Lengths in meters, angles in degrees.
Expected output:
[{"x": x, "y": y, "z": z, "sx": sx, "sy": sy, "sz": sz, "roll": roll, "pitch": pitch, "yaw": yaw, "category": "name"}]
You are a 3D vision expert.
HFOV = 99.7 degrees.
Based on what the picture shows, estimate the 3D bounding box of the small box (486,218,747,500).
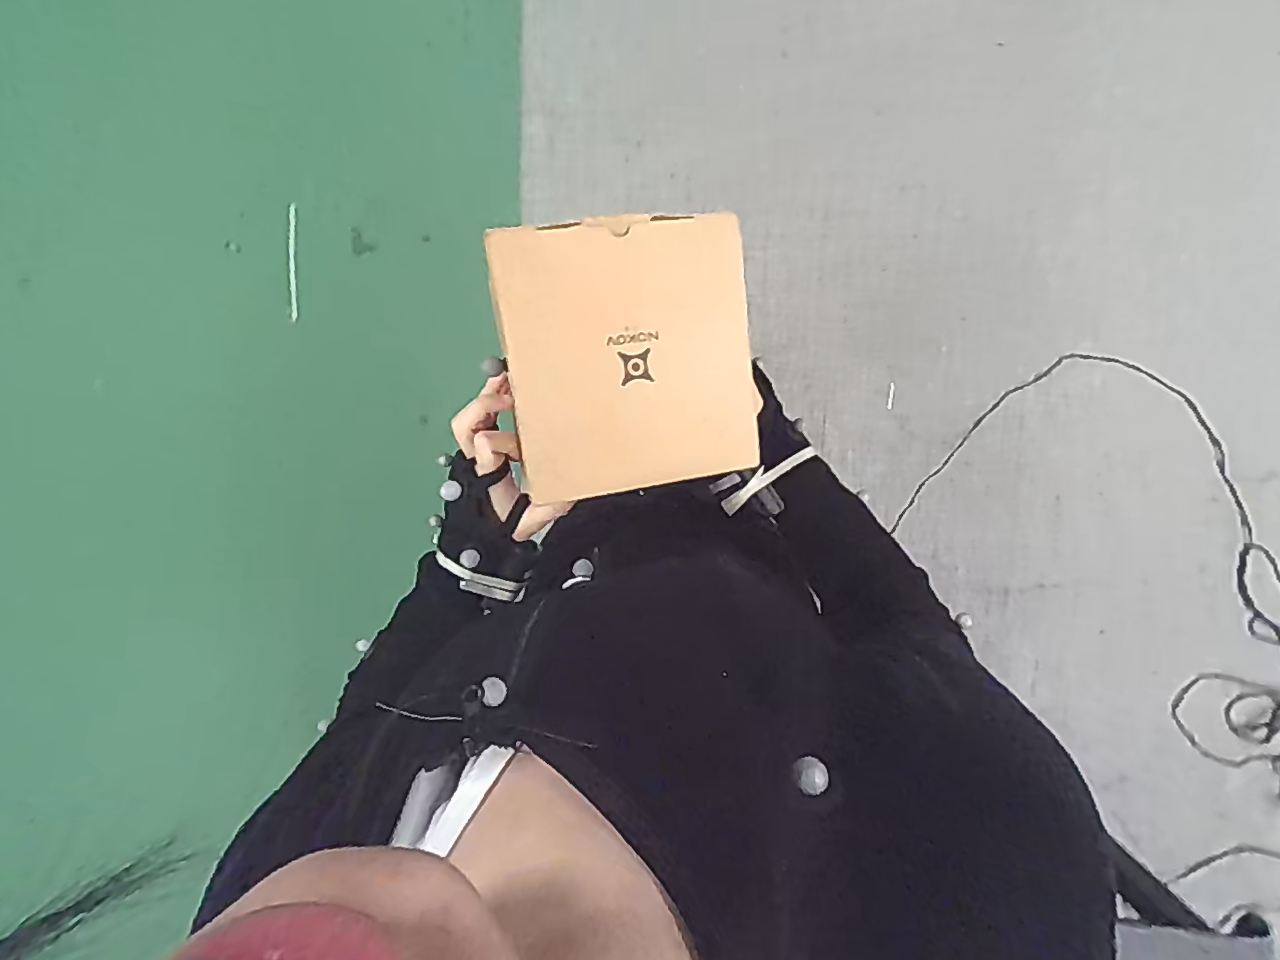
[{"x": -0.025, "y": -0.096, "z": 0.442, "sx": 0.168, "sy": 0.176, "sz": 0.179, "roll": -9, "pitch": 102, "yaw": -11, "category": "small box"}]
